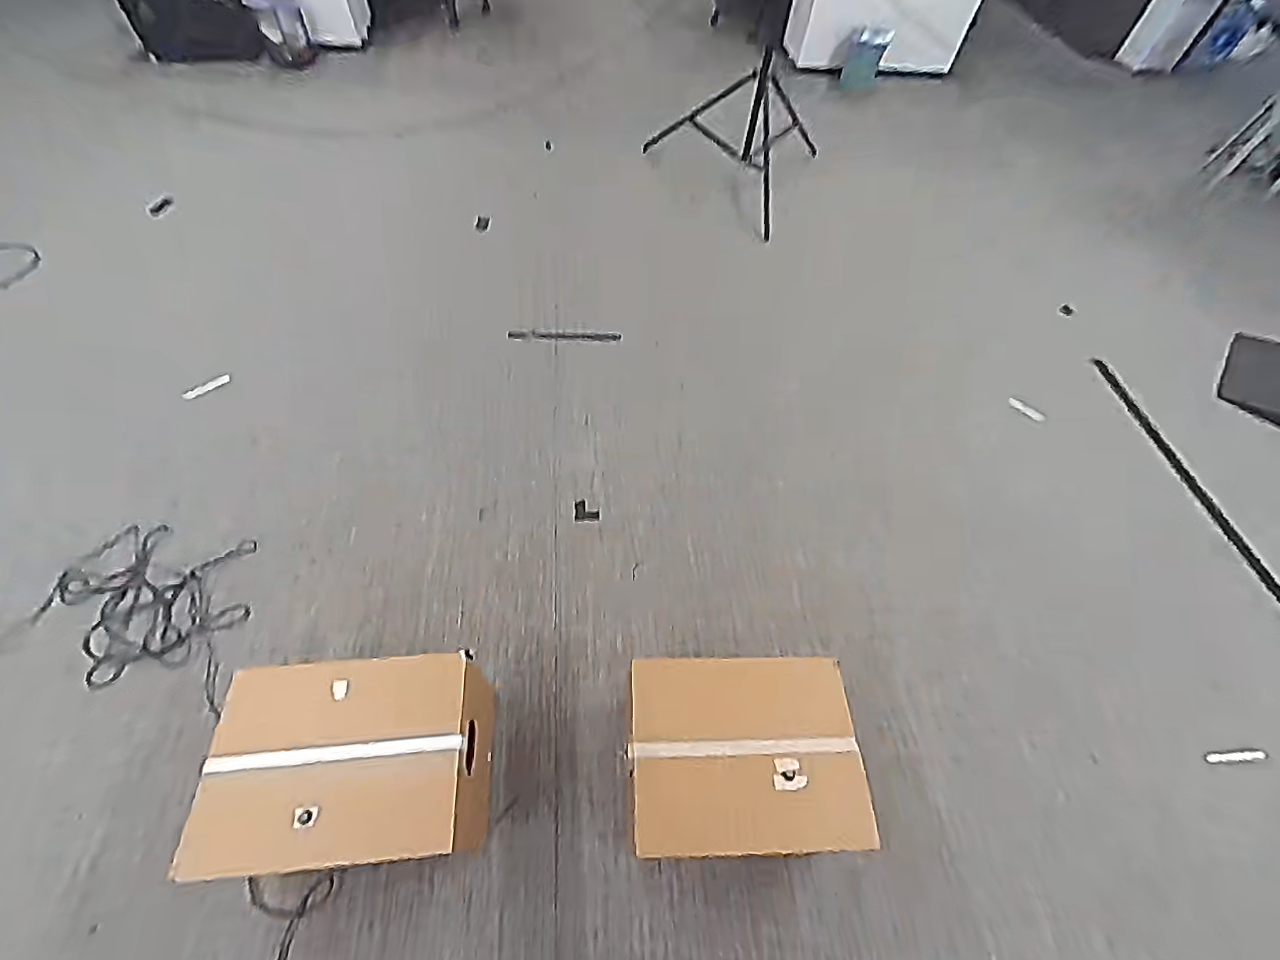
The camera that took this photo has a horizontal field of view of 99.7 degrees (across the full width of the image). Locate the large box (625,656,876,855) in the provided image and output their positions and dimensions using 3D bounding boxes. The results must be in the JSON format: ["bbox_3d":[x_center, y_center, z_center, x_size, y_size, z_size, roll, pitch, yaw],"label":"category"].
[{"bbox_3d":[0.180,0.558,1.087,0.408,0.320,0.320,1,56,-5],"label":"large box"}]
